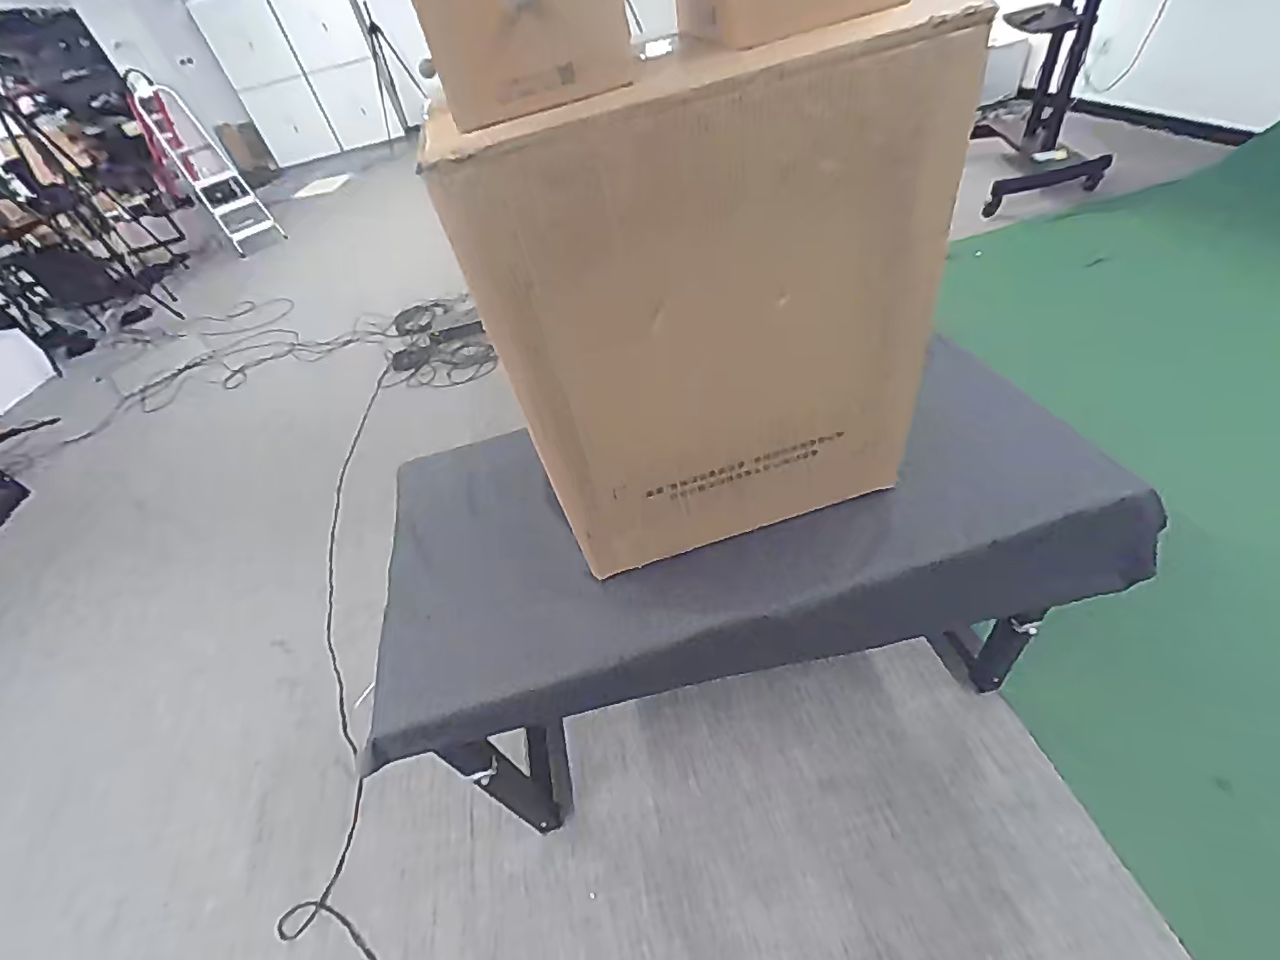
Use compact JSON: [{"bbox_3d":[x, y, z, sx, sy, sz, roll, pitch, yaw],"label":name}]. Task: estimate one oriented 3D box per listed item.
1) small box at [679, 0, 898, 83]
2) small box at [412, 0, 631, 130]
[{"bbox_3d":[0.138,-0.508,0.512,0.179,0.176,0.168,-20,46,-6],"label":"small box"},{"bbox_3d":[-0.115,-0.434,0.478,0.168,0.176,0.179,-18,47,-5],"label":"small box"}]
